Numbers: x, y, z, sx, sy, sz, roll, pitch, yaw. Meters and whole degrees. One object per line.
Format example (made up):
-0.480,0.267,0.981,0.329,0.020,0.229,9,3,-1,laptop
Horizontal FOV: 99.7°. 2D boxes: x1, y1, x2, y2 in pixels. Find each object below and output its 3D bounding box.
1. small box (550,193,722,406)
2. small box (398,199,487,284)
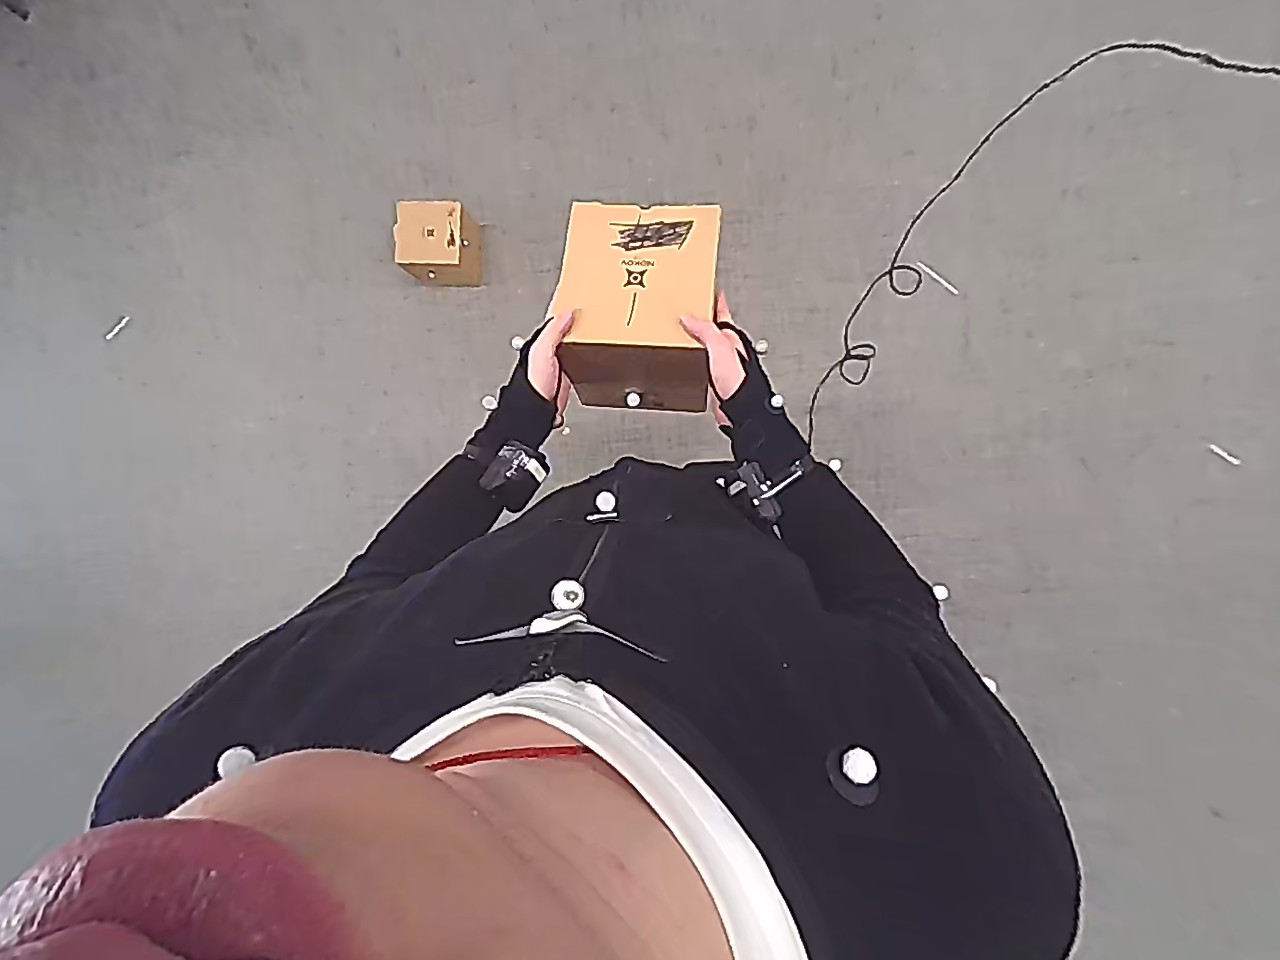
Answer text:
0.005,-0.206,0.643,0.168,0.176,0.179,5,75,8,small box
-0.543,-0.655,1.499,0.179,0.176,0.168,3,90,4,small box
